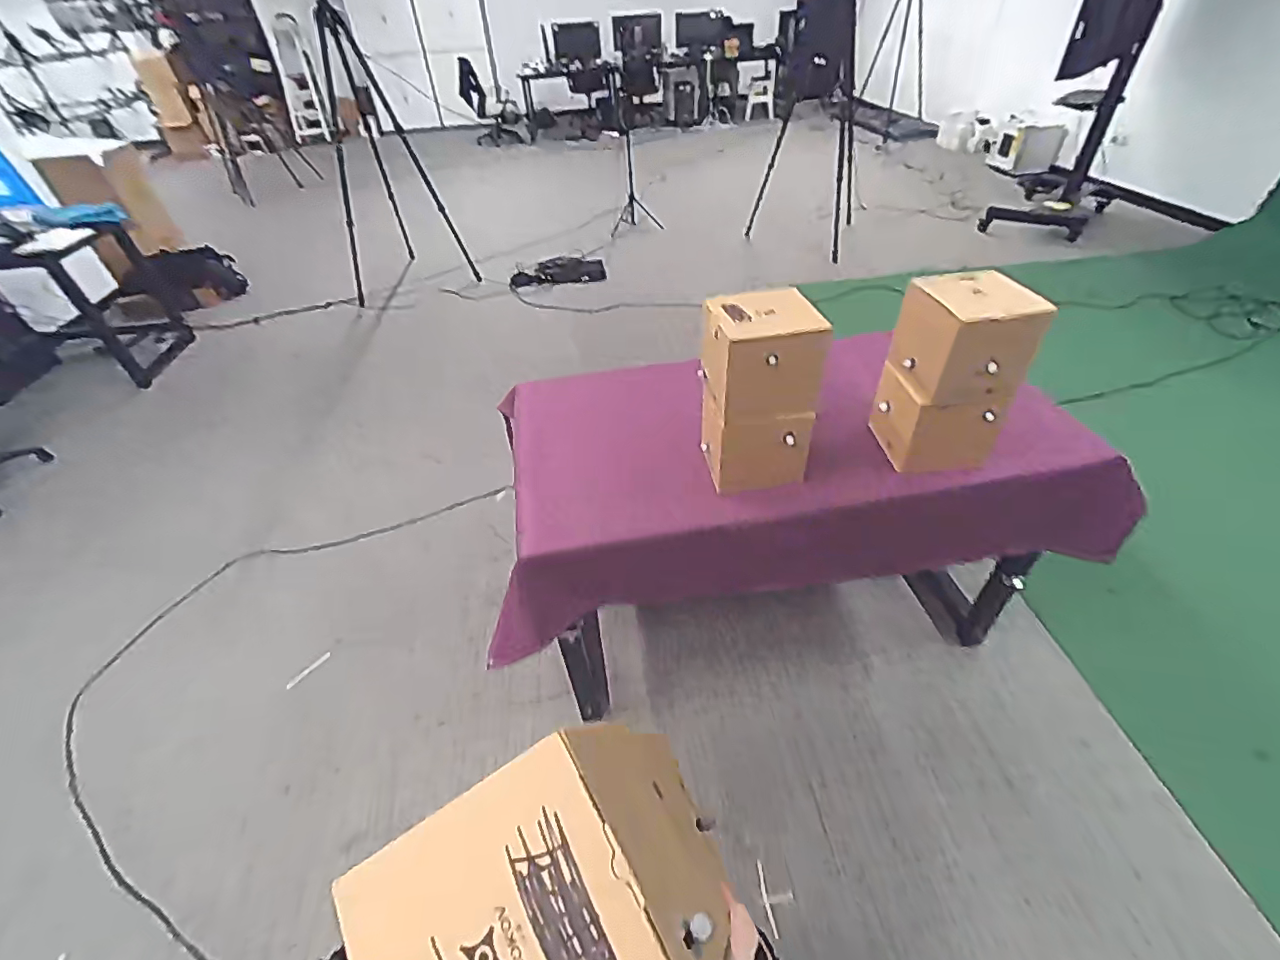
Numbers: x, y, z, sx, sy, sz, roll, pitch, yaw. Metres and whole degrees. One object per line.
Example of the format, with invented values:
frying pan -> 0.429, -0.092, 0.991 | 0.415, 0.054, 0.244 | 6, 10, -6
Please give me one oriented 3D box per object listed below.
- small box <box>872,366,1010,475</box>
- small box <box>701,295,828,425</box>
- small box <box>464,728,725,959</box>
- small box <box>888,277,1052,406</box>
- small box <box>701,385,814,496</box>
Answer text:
small box -> 0.586, -0.123, 1.088 | 0.179, 0.176, 0.168 | -4, 42, 0
small box -> 0.213, -0.213, 0.973 | 0.179, 0.176, 0.168 | -8, 42, -5
small box -> -0.034, 0.365, 0.528 | 0.179, 0.176, 0.168 | -30, 63, 0
small box -> 0.580, -0.246, 0.979 | 0.168, 0.176, 0.179 | -6, 42, -3
small box -> 0.223, -0.086, 1.077 | 0.179, 0.176, 0.168 | -7, 41, -3
